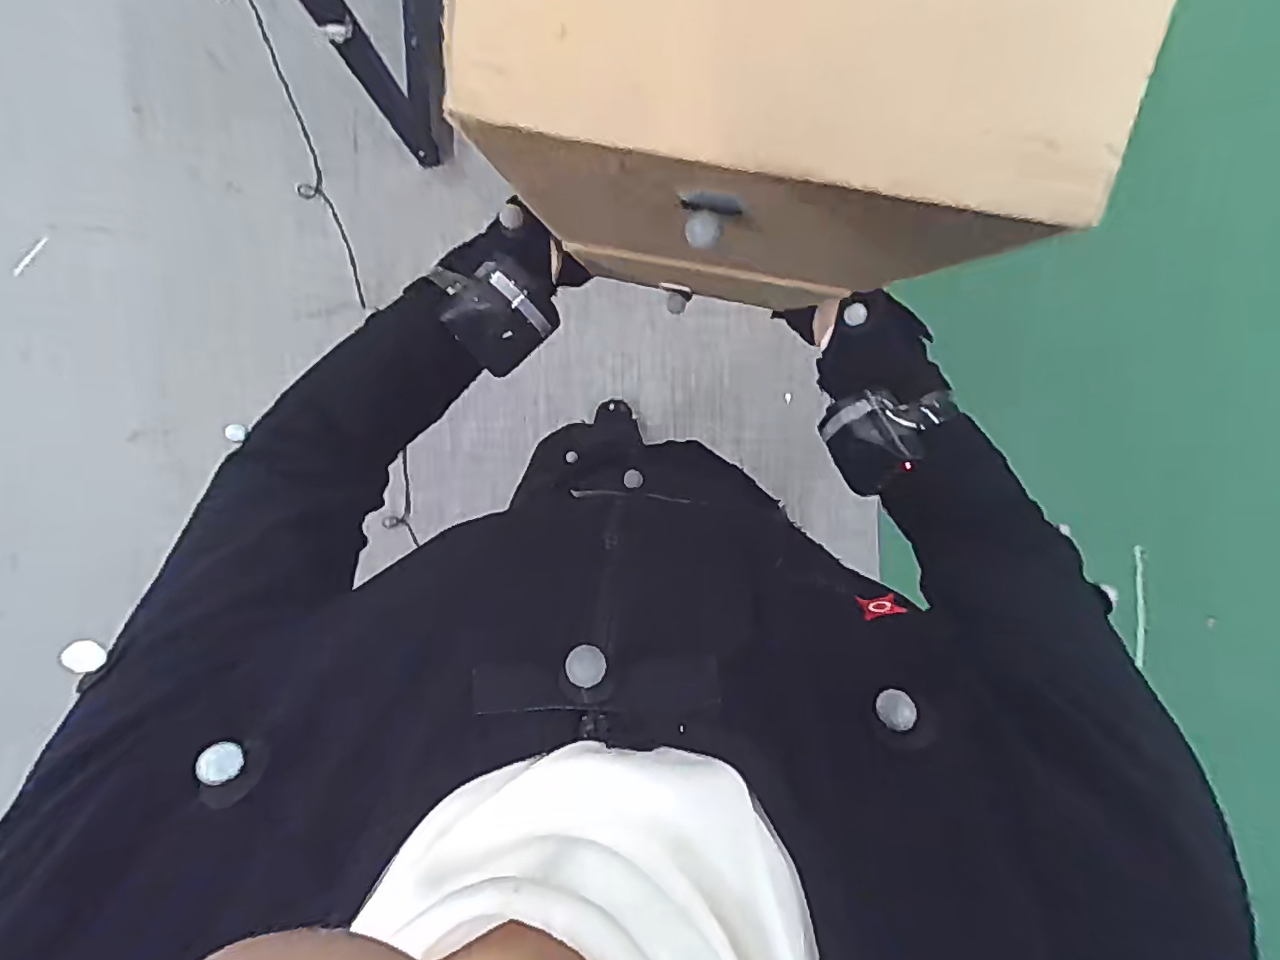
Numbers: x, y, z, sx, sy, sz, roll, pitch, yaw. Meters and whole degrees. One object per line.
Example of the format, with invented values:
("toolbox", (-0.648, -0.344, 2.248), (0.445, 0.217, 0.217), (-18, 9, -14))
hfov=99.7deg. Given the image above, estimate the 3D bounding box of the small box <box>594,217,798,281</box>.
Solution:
("small box", (0.059, -0.292, 0.511), (0.179, 0.176, 0.168), (9, 104, -2))
